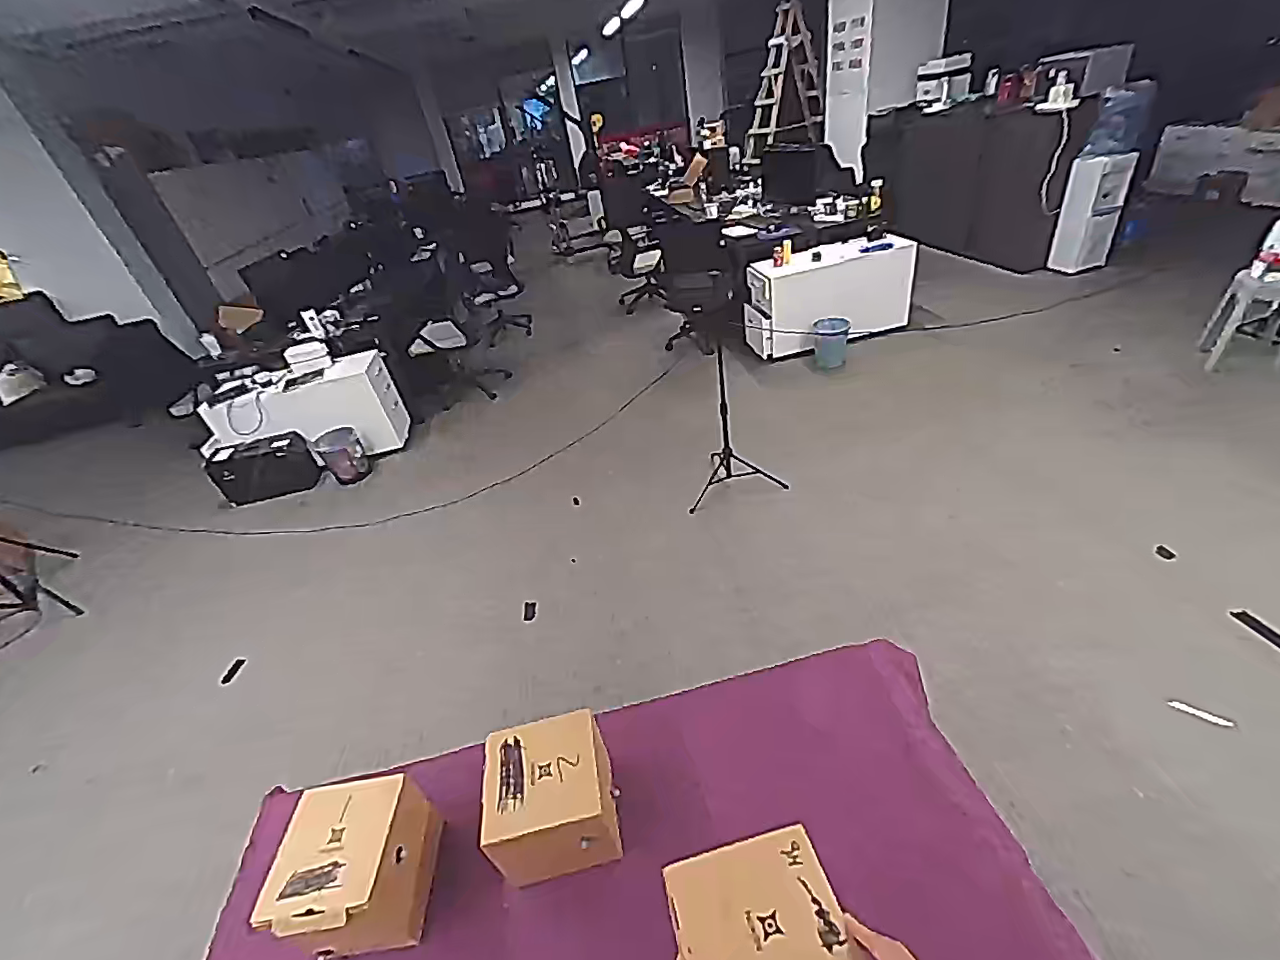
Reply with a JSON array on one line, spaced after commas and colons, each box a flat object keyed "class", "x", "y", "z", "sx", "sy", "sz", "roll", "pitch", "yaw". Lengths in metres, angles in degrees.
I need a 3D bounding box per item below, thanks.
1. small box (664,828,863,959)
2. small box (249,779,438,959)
[{"class": "small box", "x": 0.137, "y": 0.536, "z": 0.604, "sx": 0.179, "sy": 0.176, "sz": 0.168, "roll": -13, "pitch": 34, "yaw": -7}, {"class": "small box", "x": -0.427, "y": 0.591, "z": 0.819, "sx": 0.168, "sy": 0.176, "sz": 0.179, "roll": -10, "pitch": 35, "yaw": 1}]
